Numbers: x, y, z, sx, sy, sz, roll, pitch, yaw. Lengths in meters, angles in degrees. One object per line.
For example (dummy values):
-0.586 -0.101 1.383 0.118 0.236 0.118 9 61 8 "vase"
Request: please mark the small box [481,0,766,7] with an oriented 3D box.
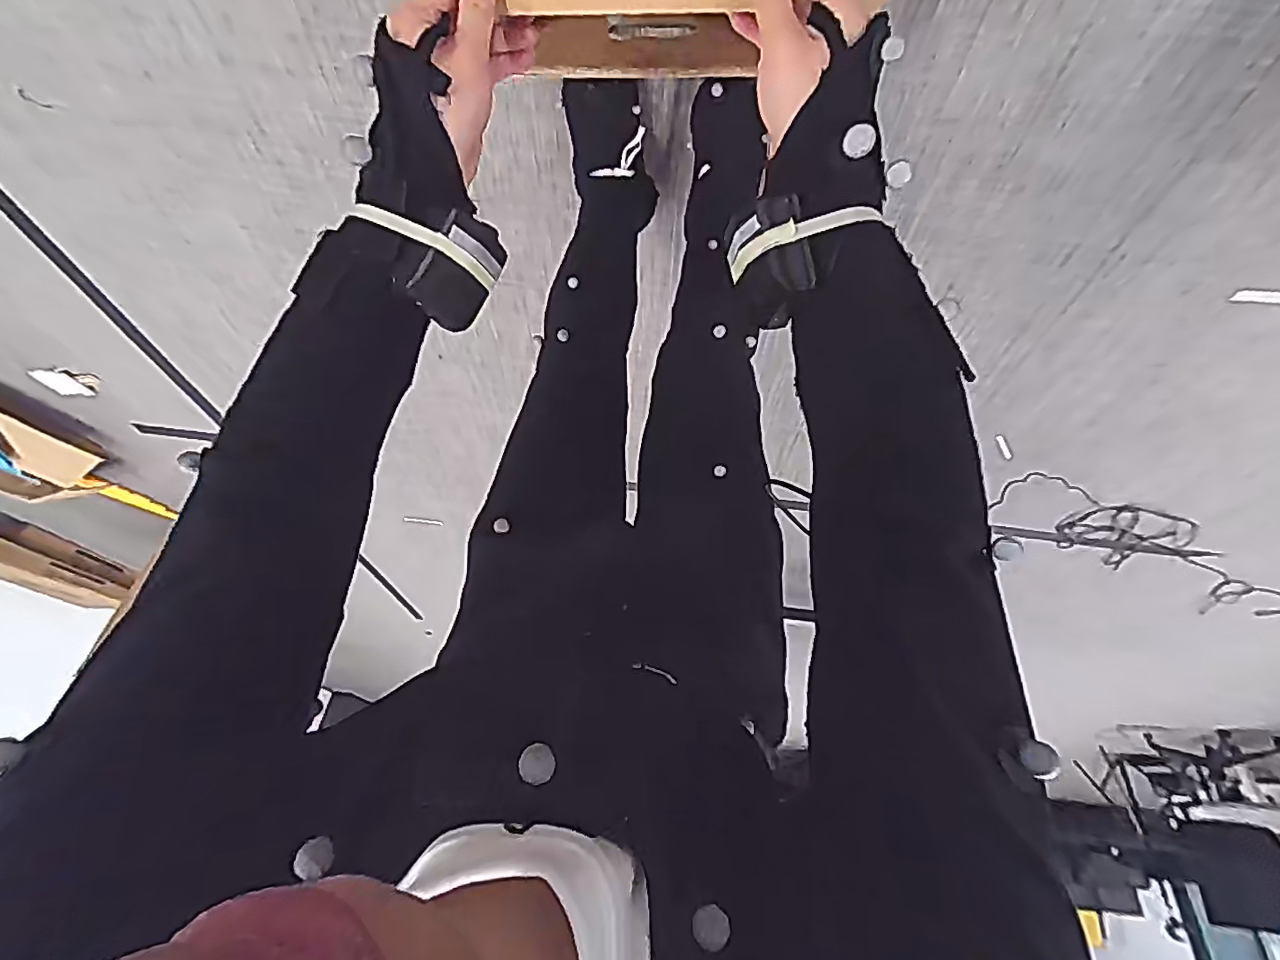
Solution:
-0.007 -0.391 0.290 0.179 0.176 0.168 3 149 4 "small box"
